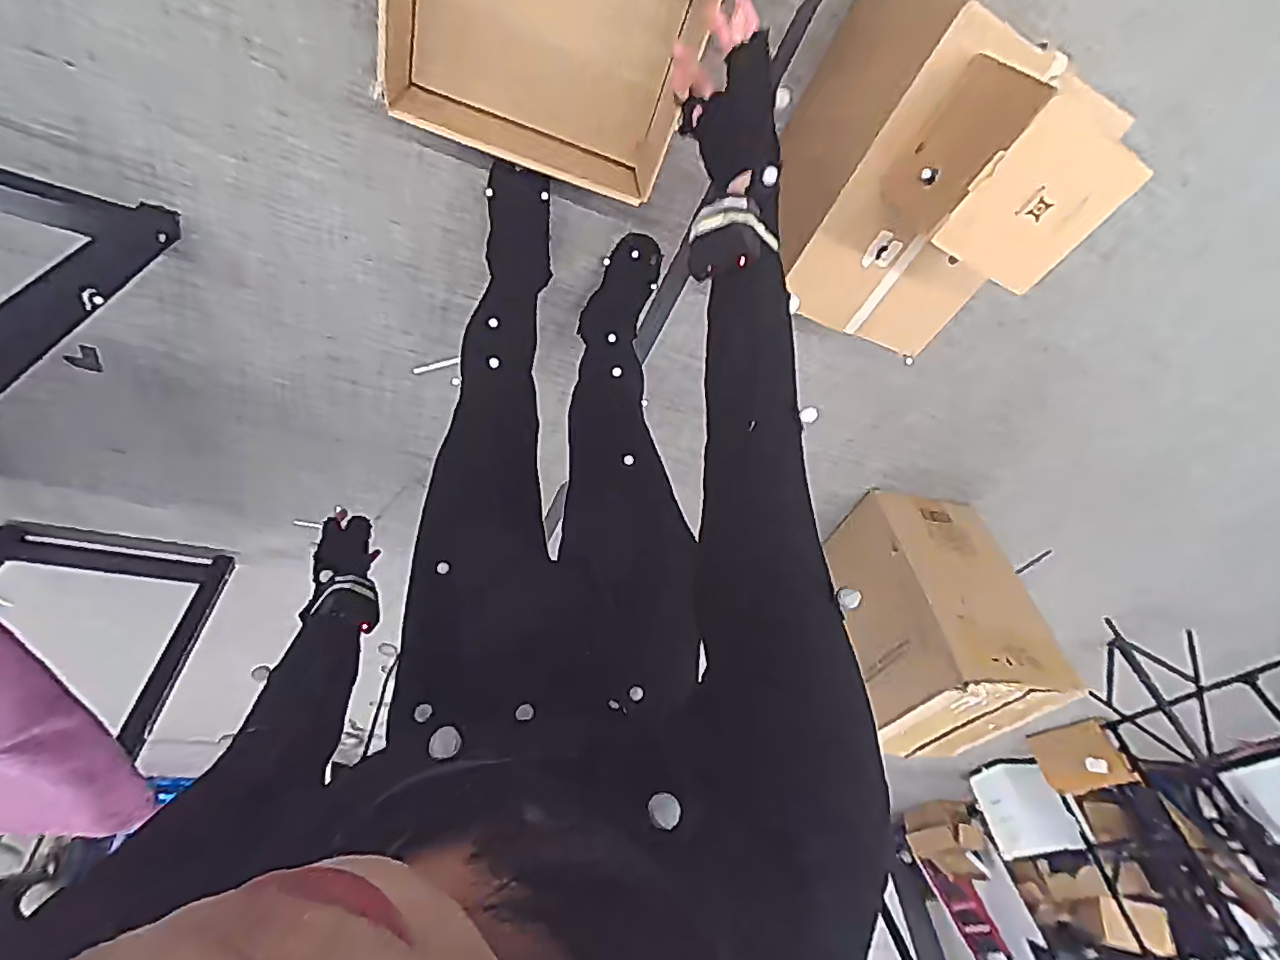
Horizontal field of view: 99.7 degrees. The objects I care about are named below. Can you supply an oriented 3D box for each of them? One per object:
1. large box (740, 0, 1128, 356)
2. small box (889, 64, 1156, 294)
[{"bbox_3d":[0.417,-0.489,0.884,0.320,0.320,0.408,14,135,-19],"label":"large box"},{"bbox_3d":[0.444,-0.367,0.659,0.179,0.176,0.168,16,135,-22],"label":"small box"}]
